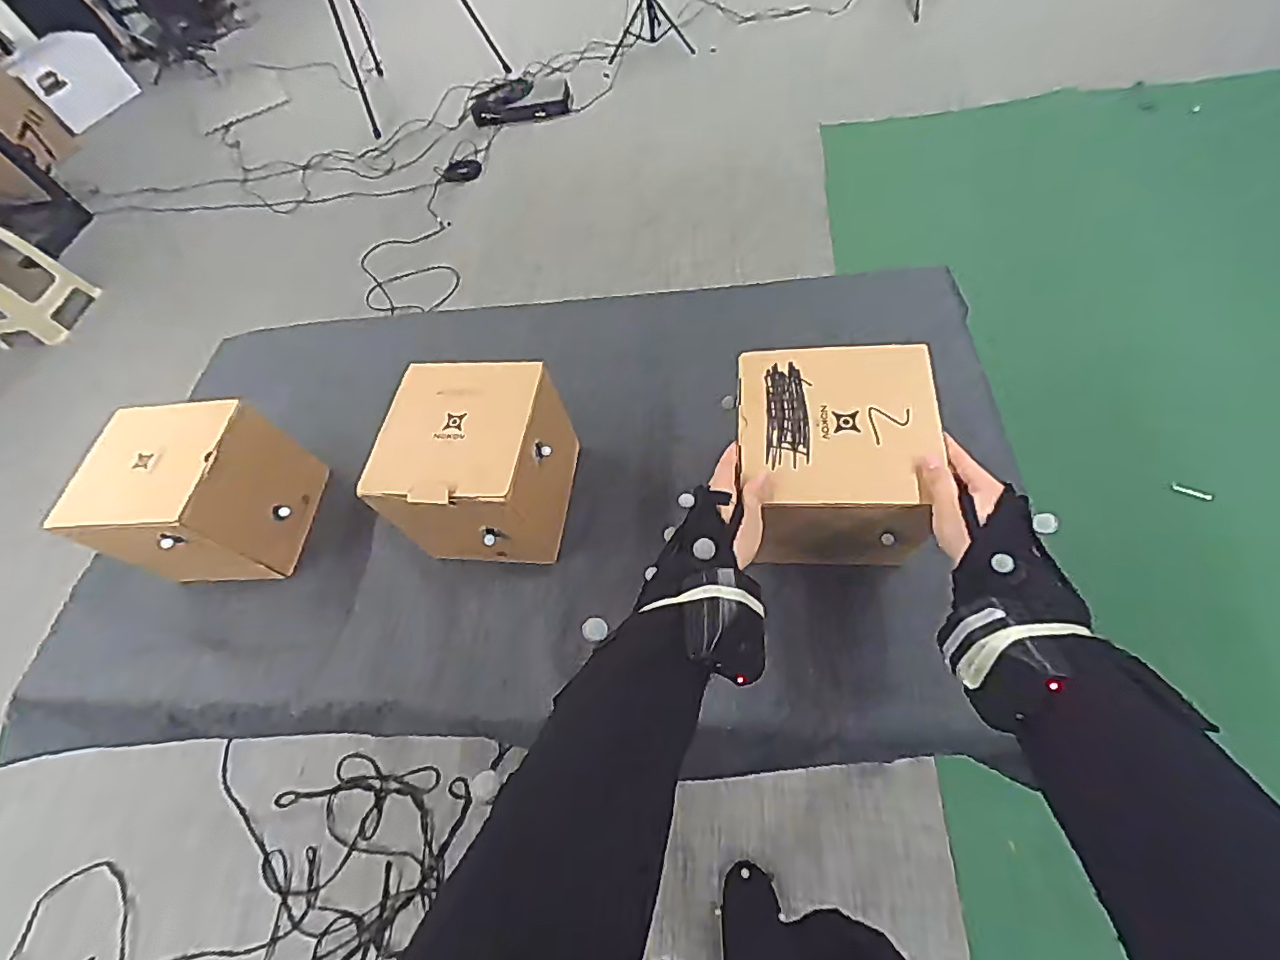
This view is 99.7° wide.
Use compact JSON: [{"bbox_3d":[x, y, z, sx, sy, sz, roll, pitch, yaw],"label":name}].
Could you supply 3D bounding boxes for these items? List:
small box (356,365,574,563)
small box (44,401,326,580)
[{"bbox_3d":[-0.184,-0.013,0.635,0.168,0.176,0.179,2,59,10],"label":"small box"},{"bbox_3d":[-0.547,0.021,0.681,0.179,0.176,0.168,-3,59,8],"label":"small box"}]
